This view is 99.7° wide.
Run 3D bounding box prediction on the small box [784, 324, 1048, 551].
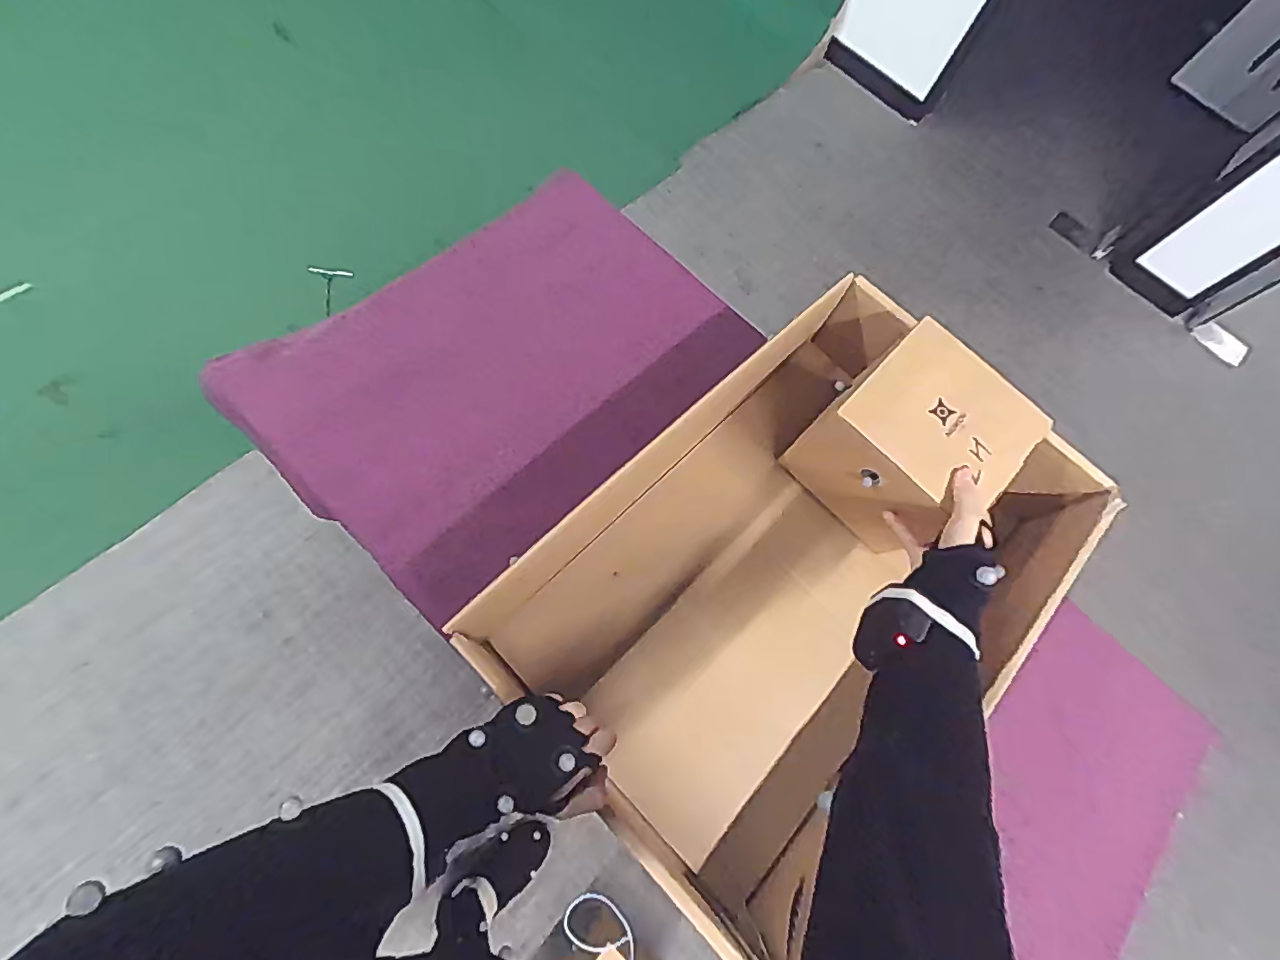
[{"bbox_3d":[0.300,-0.036,0.628,0.179,0.176,0.168,45,76,6],"label":"small box"}]
